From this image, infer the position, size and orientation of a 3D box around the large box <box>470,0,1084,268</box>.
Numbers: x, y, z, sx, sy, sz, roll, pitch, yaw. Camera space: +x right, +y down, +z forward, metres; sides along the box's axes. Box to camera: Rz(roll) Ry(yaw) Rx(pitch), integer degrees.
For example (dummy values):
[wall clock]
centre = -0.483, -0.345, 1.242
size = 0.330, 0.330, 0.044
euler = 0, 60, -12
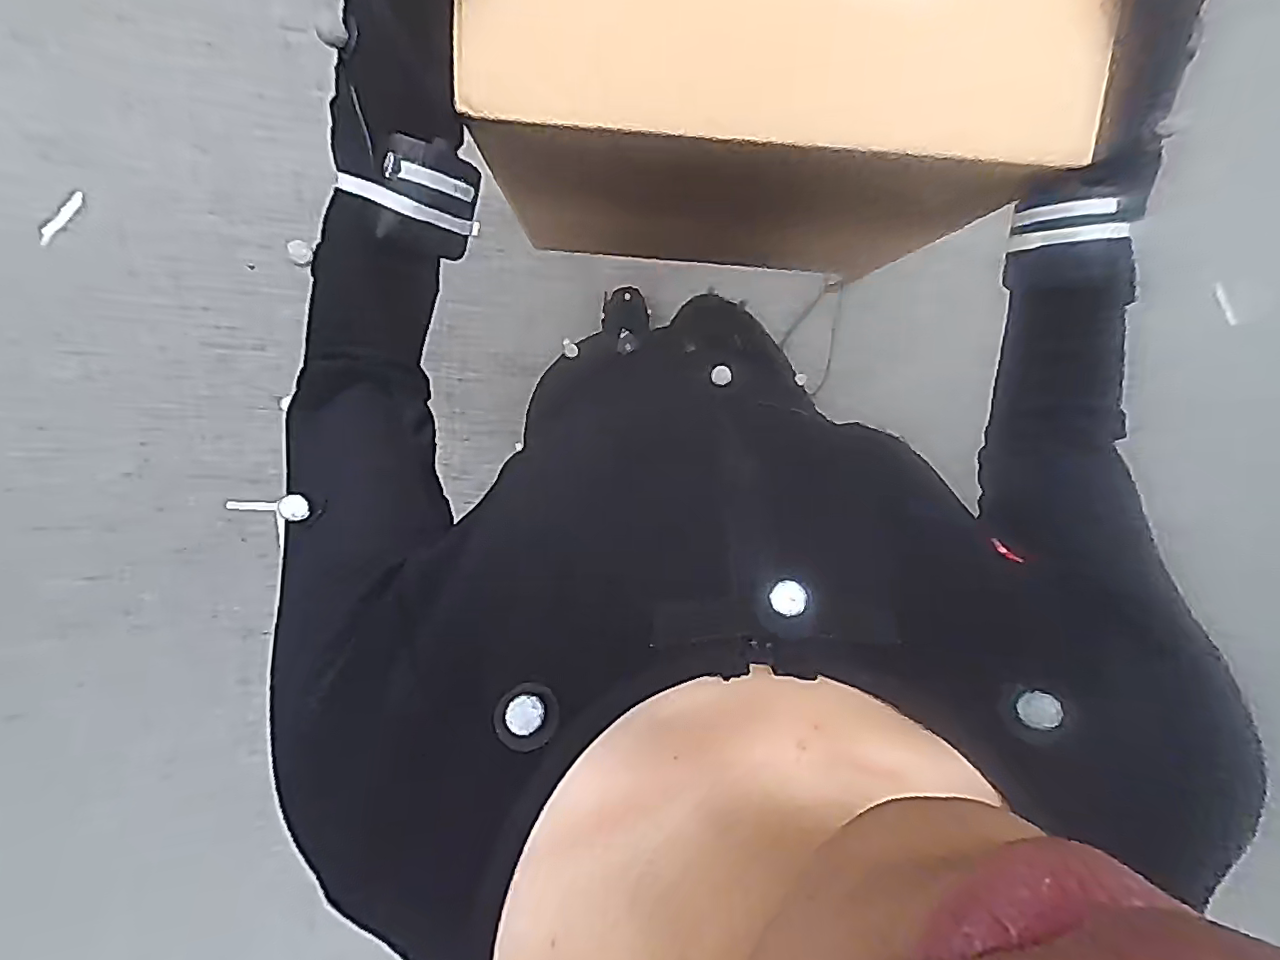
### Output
[large box]
centre = 0.086, -0.395, 0.483
size = 0.408, 0.320, 0.320
euler = 3, 98, -3
